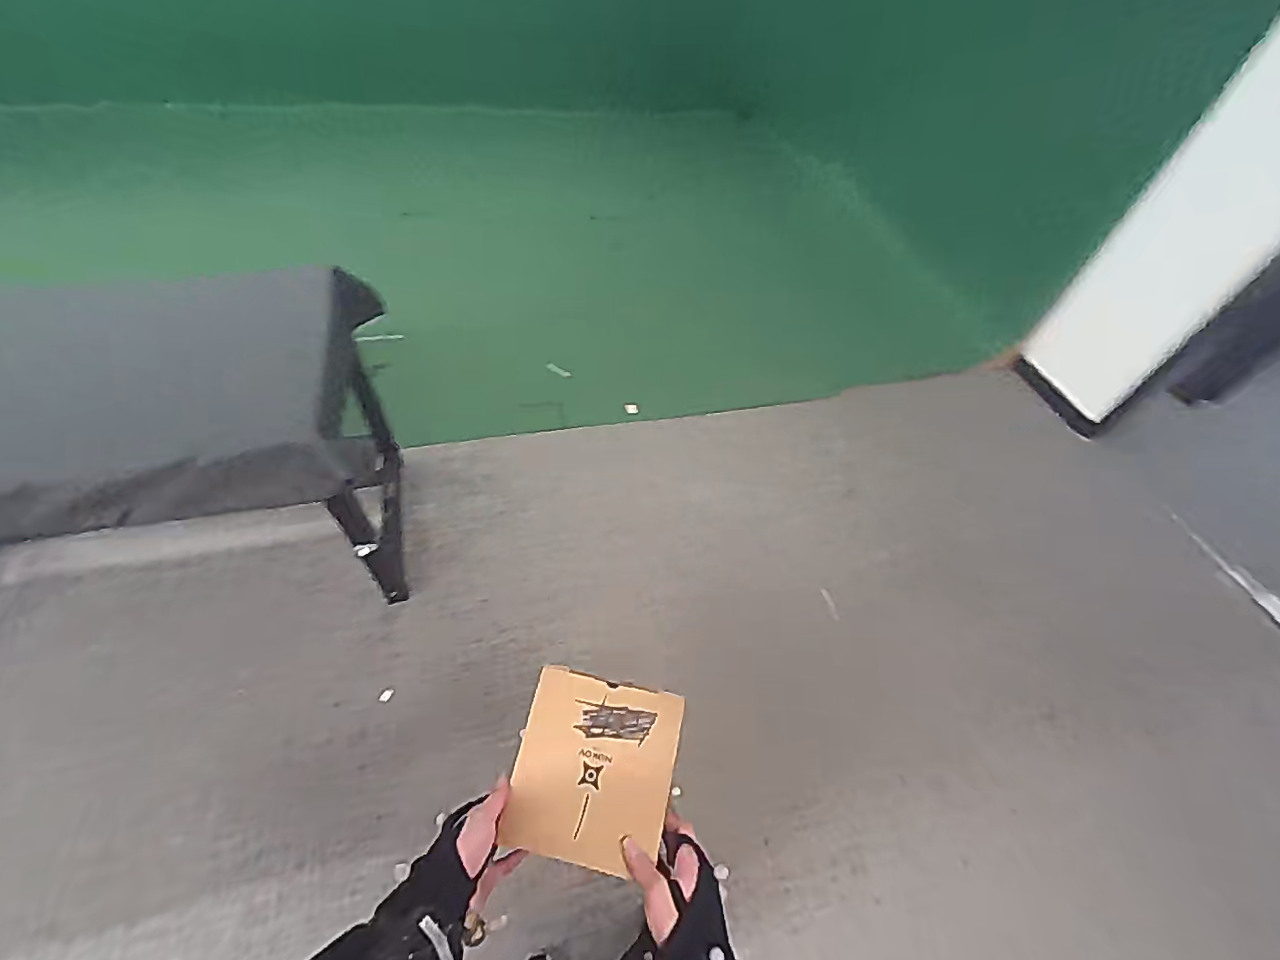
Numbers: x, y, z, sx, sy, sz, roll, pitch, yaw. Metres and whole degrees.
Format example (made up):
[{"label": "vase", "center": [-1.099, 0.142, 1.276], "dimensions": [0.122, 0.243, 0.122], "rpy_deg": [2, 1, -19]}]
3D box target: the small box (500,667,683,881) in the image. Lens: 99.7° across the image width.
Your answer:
[{"label": "small box", "center": [-0.047, 0.338, 0.646], "dimensions": [0.168, 0.176, 0.179], "rpy_deg": [10, 66, 6]}]
